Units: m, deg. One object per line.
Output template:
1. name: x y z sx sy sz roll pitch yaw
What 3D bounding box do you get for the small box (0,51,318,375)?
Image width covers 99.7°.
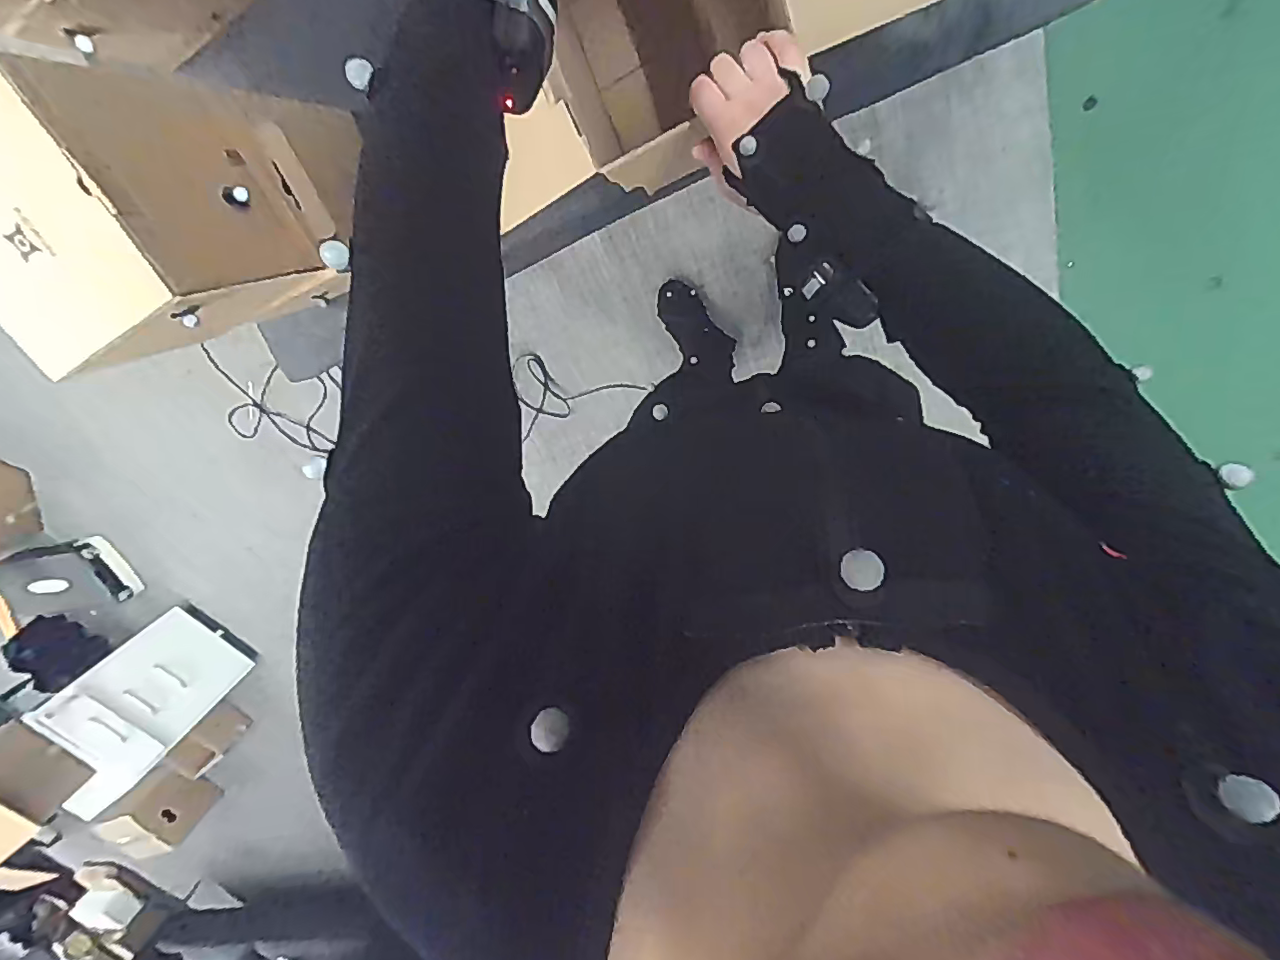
1. small box: -0.433 -0.217 0.468 0.179 0.176 0.168 -19 113 20

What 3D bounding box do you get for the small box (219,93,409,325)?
1. small box: -0.390 -0.296 0.603 0.179 0.176 0.168 -15 115 19
